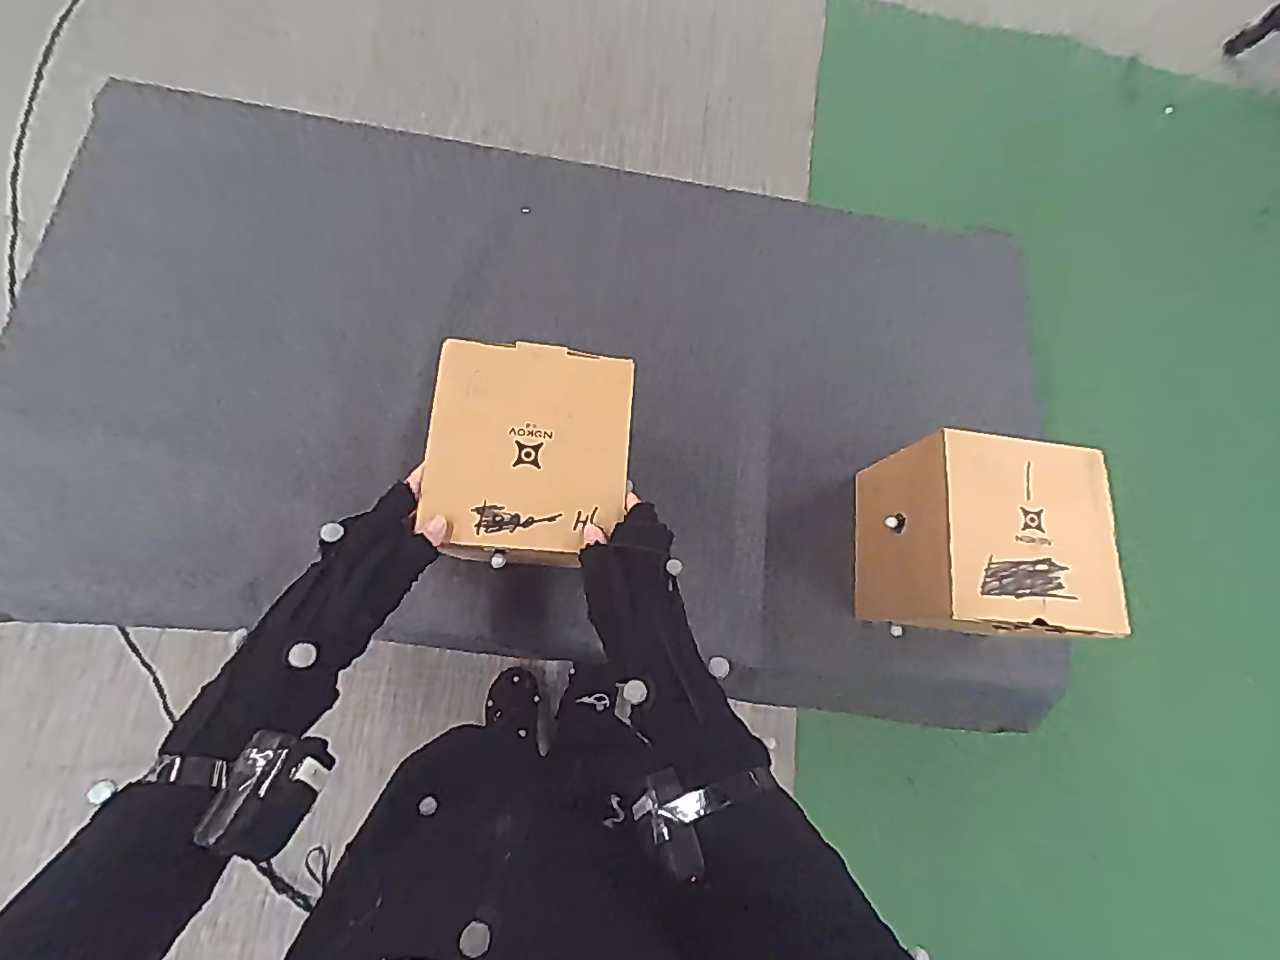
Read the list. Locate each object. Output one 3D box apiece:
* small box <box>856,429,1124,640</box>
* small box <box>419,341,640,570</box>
[{"bbox_3d":[0.343,0.066,0.565,0.168,0.176,0.179,8,74,-5],"label":"small box"},{"bbox_3d":[-0.098,-0.010,0.527,0.168,0.176,0.179,5,77,-6],"label":"small box"}]
